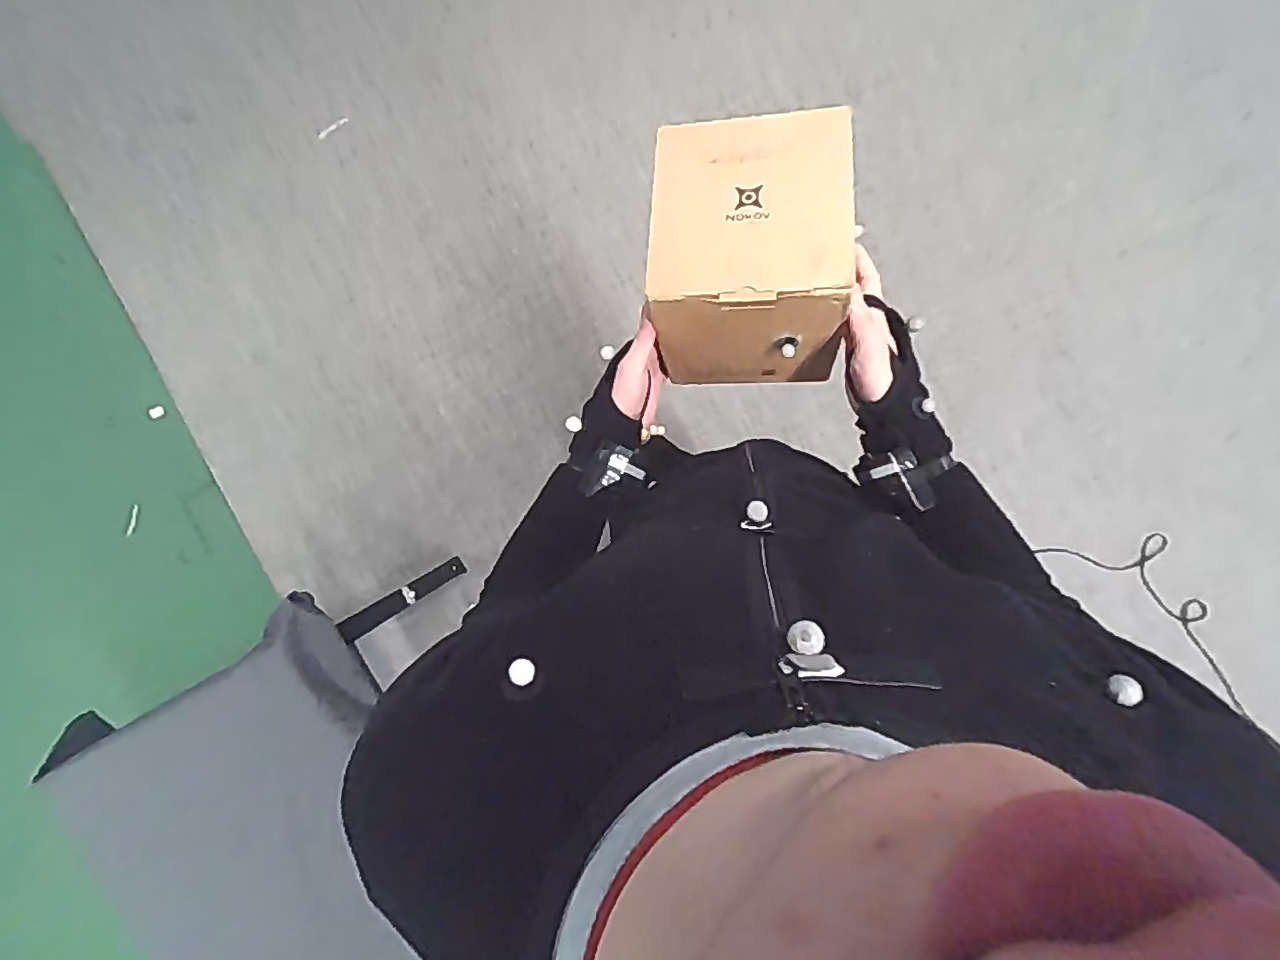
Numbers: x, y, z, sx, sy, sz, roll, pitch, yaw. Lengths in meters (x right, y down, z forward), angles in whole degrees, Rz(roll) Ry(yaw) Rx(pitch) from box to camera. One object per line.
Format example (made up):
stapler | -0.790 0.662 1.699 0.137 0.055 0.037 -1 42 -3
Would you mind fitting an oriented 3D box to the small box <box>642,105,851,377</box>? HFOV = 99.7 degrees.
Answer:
small box | 0.101 -0.209 0.519 0.168 0.176 0.179 1 75 10
